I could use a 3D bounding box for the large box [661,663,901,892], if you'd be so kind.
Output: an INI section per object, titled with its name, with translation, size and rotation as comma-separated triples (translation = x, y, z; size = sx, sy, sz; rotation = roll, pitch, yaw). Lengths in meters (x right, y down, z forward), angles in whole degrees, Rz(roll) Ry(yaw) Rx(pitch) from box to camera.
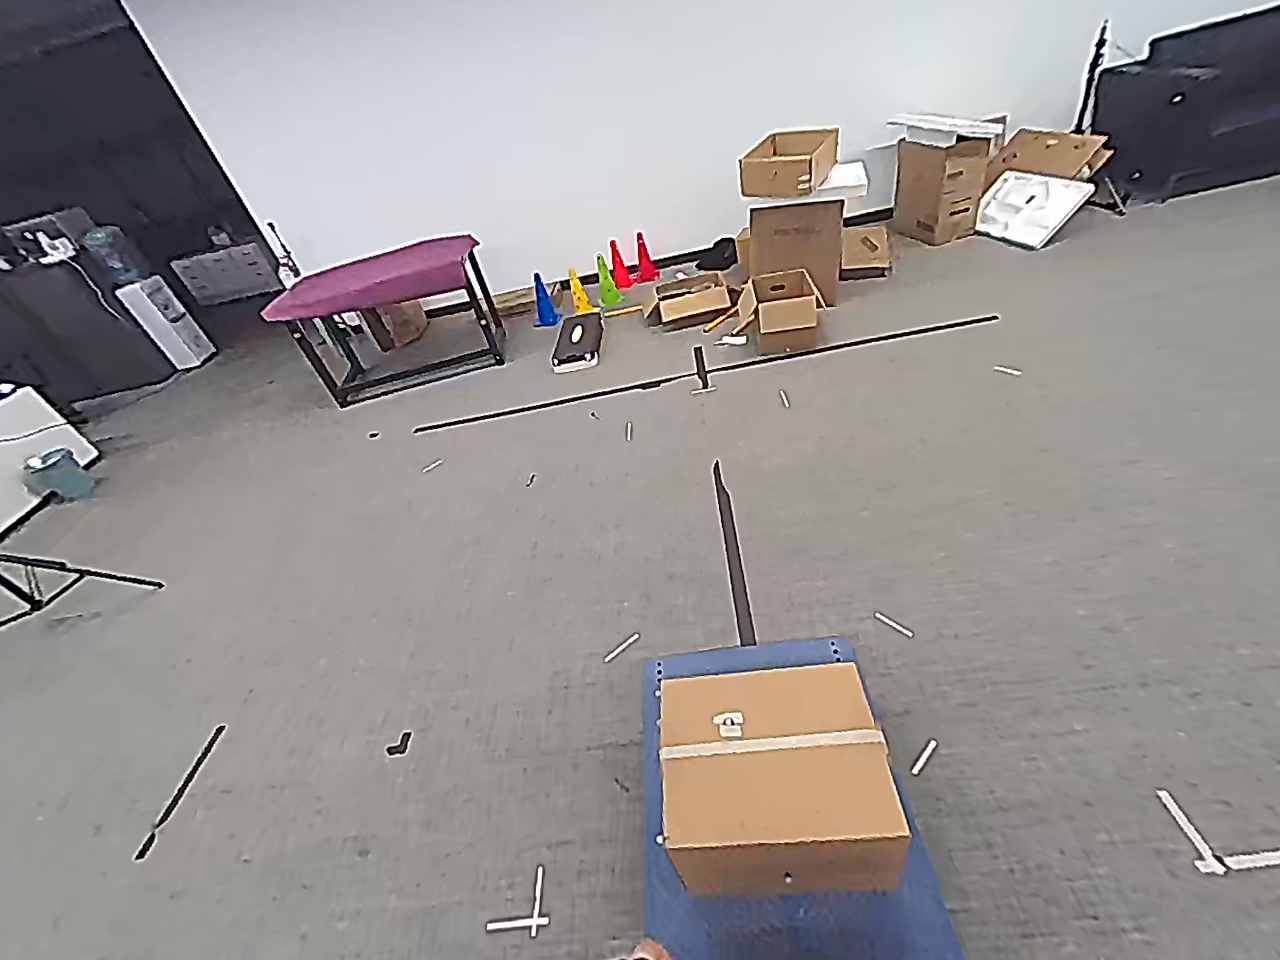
[large box]
translation = 0.272, 0.622, 1.122
size = 0.408, 0.320, 0.320
rotation = -10, 38, 8
